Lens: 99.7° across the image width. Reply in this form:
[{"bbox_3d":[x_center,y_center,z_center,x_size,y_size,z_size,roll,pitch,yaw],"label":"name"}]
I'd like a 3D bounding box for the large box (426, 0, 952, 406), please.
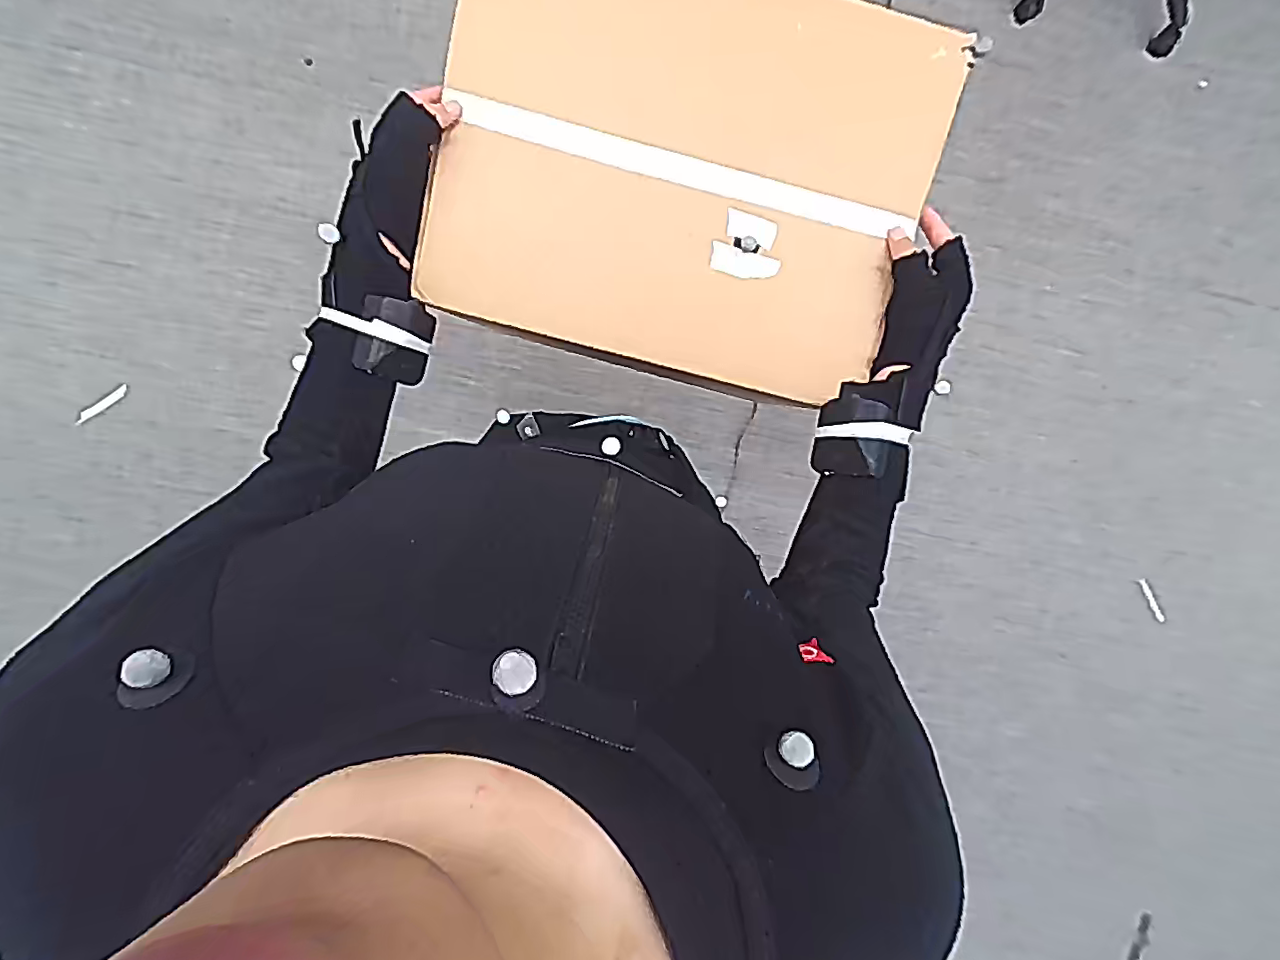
[{"bbox_3d":[0.030,-0.282,0.609,0.408,0.320,0.320,14,100,-5],"label":"large box"}]
